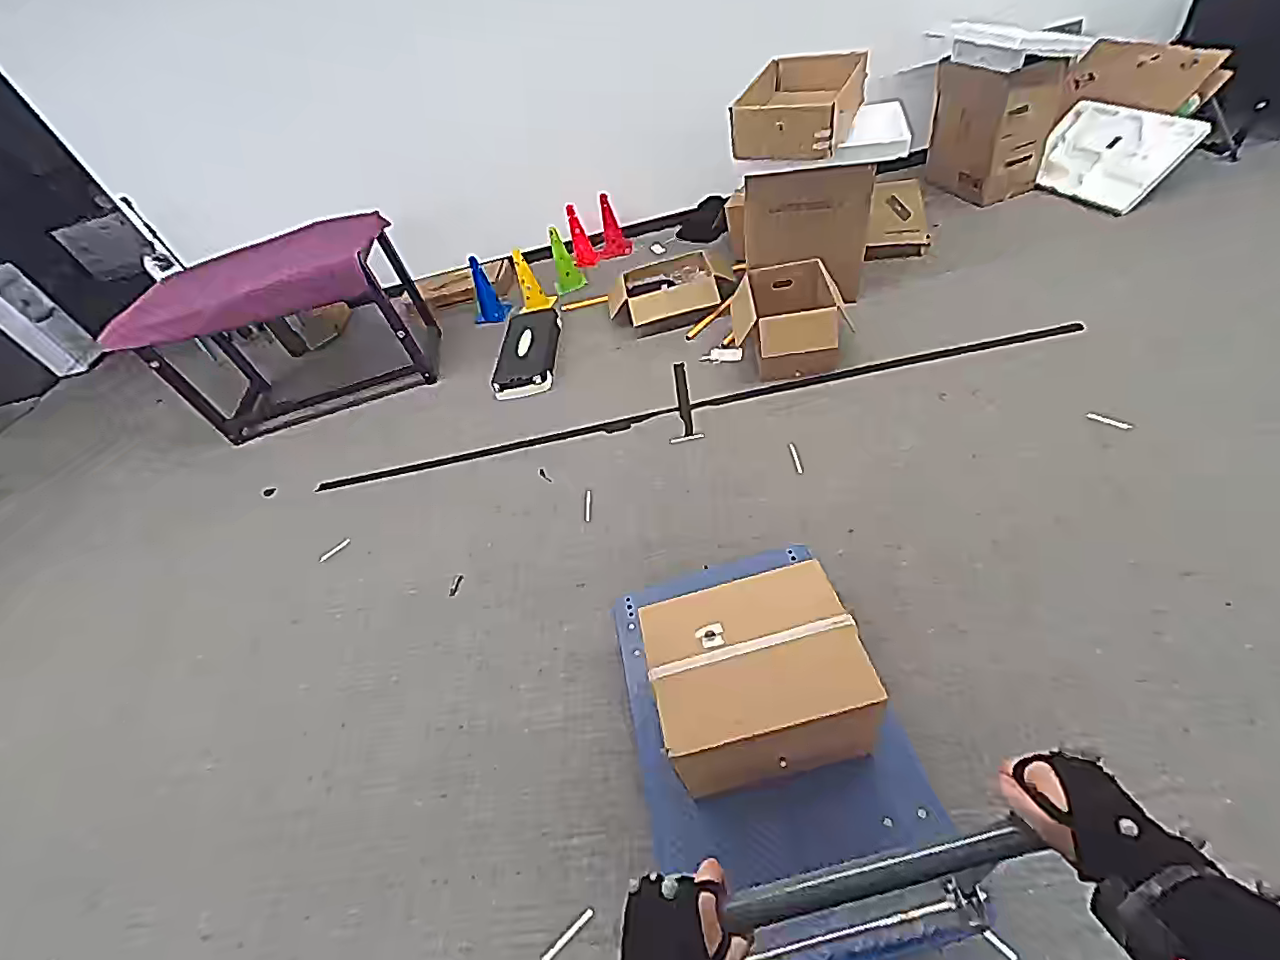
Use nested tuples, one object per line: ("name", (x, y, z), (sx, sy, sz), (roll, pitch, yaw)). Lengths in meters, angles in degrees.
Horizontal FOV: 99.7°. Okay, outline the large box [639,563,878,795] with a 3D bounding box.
("large box", (0.249, 0.440, 1.185), (0.408, 0.320, 0.320), (-17, 45, 2))
